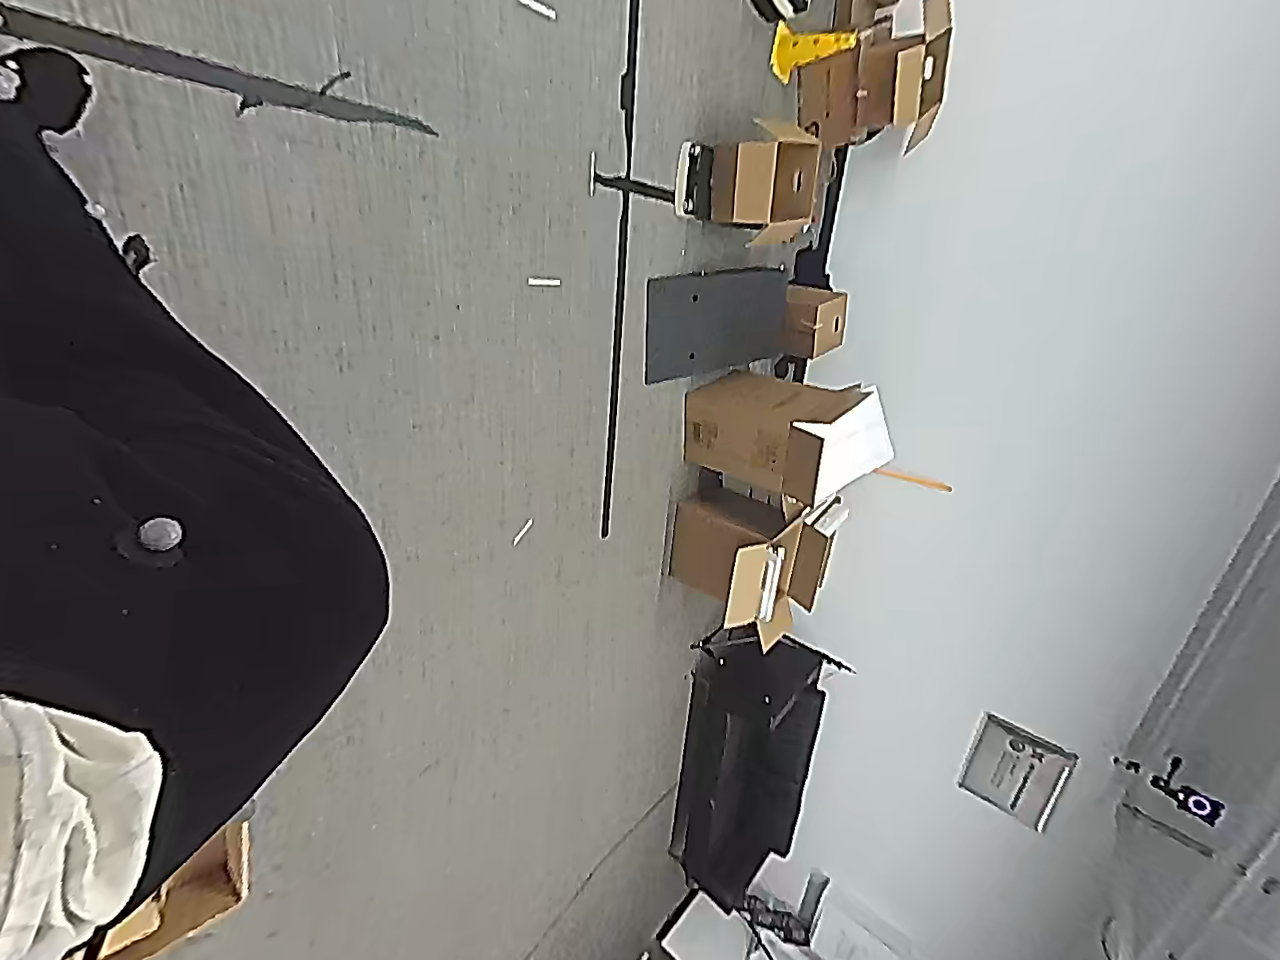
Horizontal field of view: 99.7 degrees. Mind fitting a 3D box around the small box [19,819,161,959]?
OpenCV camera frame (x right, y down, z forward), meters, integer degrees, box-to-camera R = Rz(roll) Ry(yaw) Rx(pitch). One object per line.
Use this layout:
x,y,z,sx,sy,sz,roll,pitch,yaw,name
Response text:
-1.034,0.796,1.018,0.179,0.176,0.168,-5,112,-50,small box
